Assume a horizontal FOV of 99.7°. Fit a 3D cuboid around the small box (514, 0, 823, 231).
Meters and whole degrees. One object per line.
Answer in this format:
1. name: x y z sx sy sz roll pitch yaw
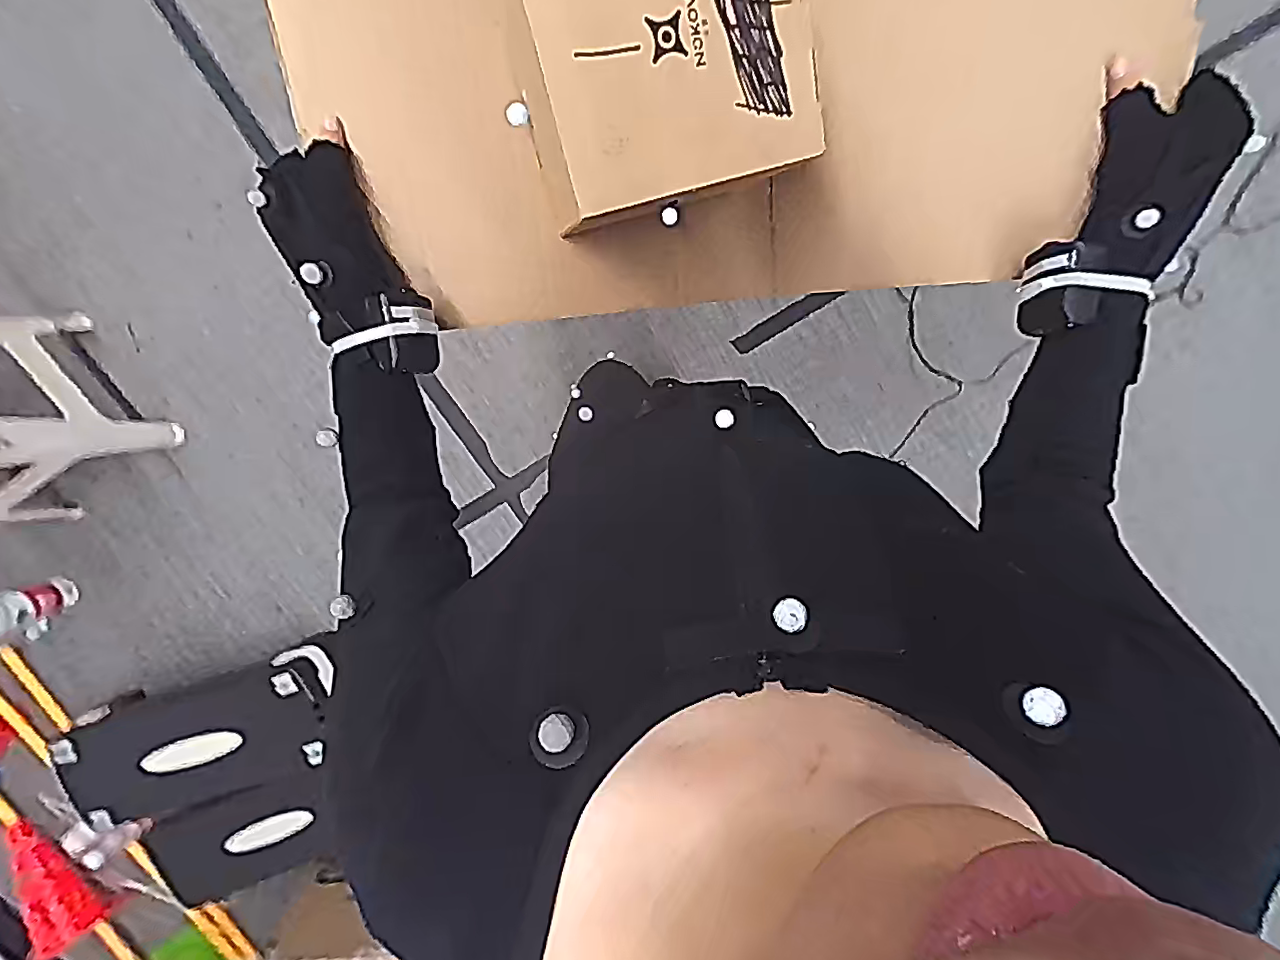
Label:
1. small box: 0.011 -0.298 0.409 0.179 0.176 0.168 -17 113 -7
